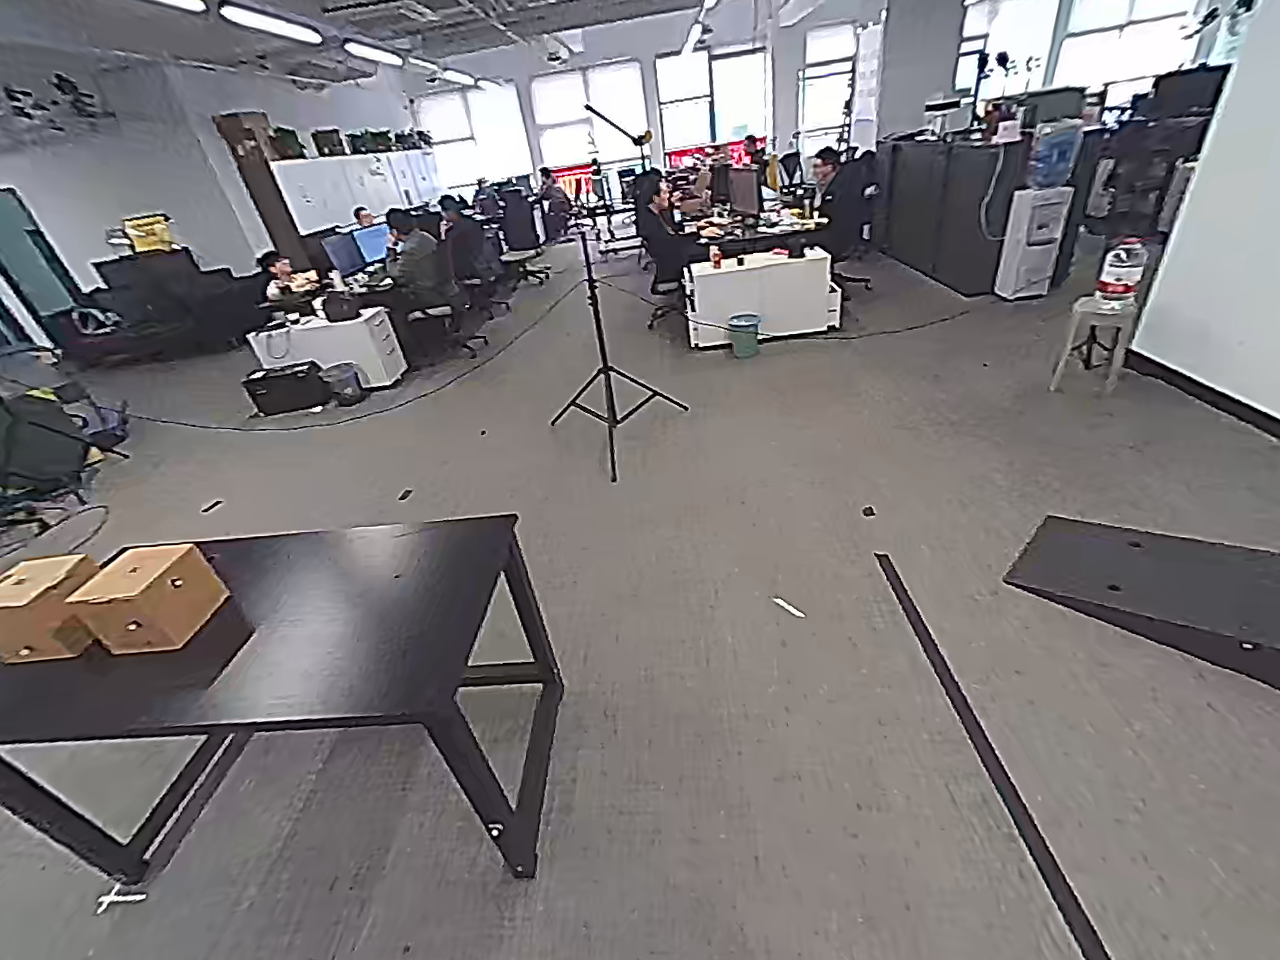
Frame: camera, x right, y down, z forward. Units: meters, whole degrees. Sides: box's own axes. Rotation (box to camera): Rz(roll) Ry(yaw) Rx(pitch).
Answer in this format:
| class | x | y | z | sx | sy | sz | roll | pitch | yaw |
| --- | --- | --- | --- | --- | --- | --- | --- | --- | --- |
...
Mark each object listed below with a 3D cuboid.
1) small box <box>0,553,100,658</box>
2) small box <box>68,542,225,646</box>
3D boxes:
| class | x | y | z | sx | sy | sz | roll | pitch | yaw |
| --- | --- | --- | --- | --- | --- | --- | --- | --- | --- |
| small box | -1.371 | 0.291 | 1.254 | 0.179 | 0.176 | 0.168 | -5 | 32 | 3 |
| small box | -1.110 | 0.265 | 1.238 | 0.168 | 0.176 | 0.179 | -4 | 31 | 4 |
